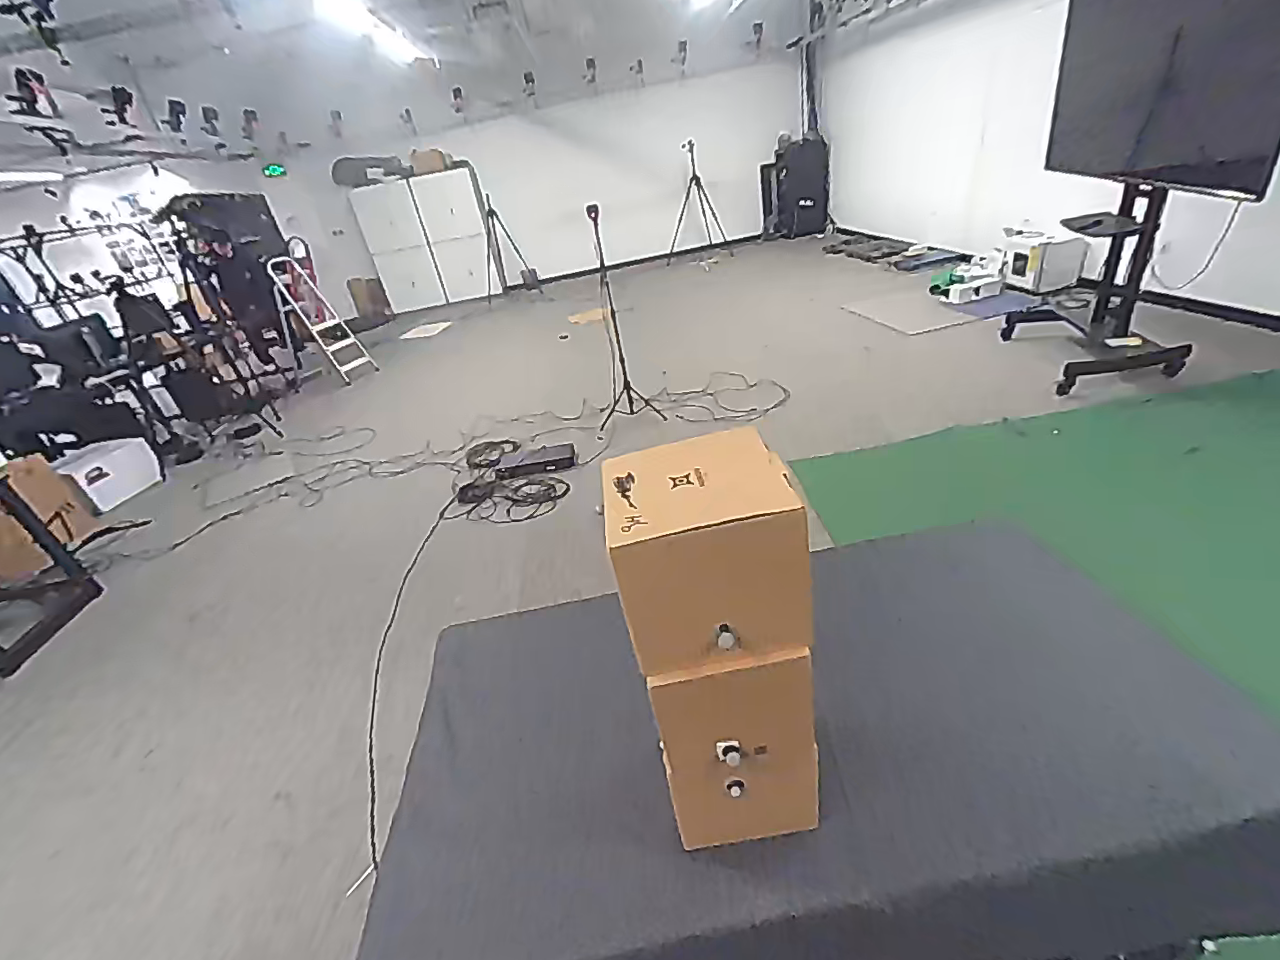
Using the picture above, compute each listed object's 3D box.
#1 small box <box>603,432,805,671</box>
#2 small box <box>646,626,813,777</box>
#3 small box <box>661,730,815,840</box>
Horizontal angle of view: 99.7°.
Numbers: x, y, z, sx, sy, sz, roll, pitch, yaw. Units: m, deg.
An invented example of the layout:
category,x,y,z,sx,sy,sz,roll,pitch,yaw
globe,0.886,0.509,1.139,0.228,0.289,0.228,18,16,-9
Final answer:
category,x,y,z,sx,sy,sz,roll,pitch,yaw
small box,0.063,0.072,0.568,0.179,0.176,0.168,-11,29,2
small box,0.096,0.213,0.644,0.168,0.176,0.179,-13,31,2
small box,0.125,0.350,0.725,0.179,0.176,0.168,-10,30,2
